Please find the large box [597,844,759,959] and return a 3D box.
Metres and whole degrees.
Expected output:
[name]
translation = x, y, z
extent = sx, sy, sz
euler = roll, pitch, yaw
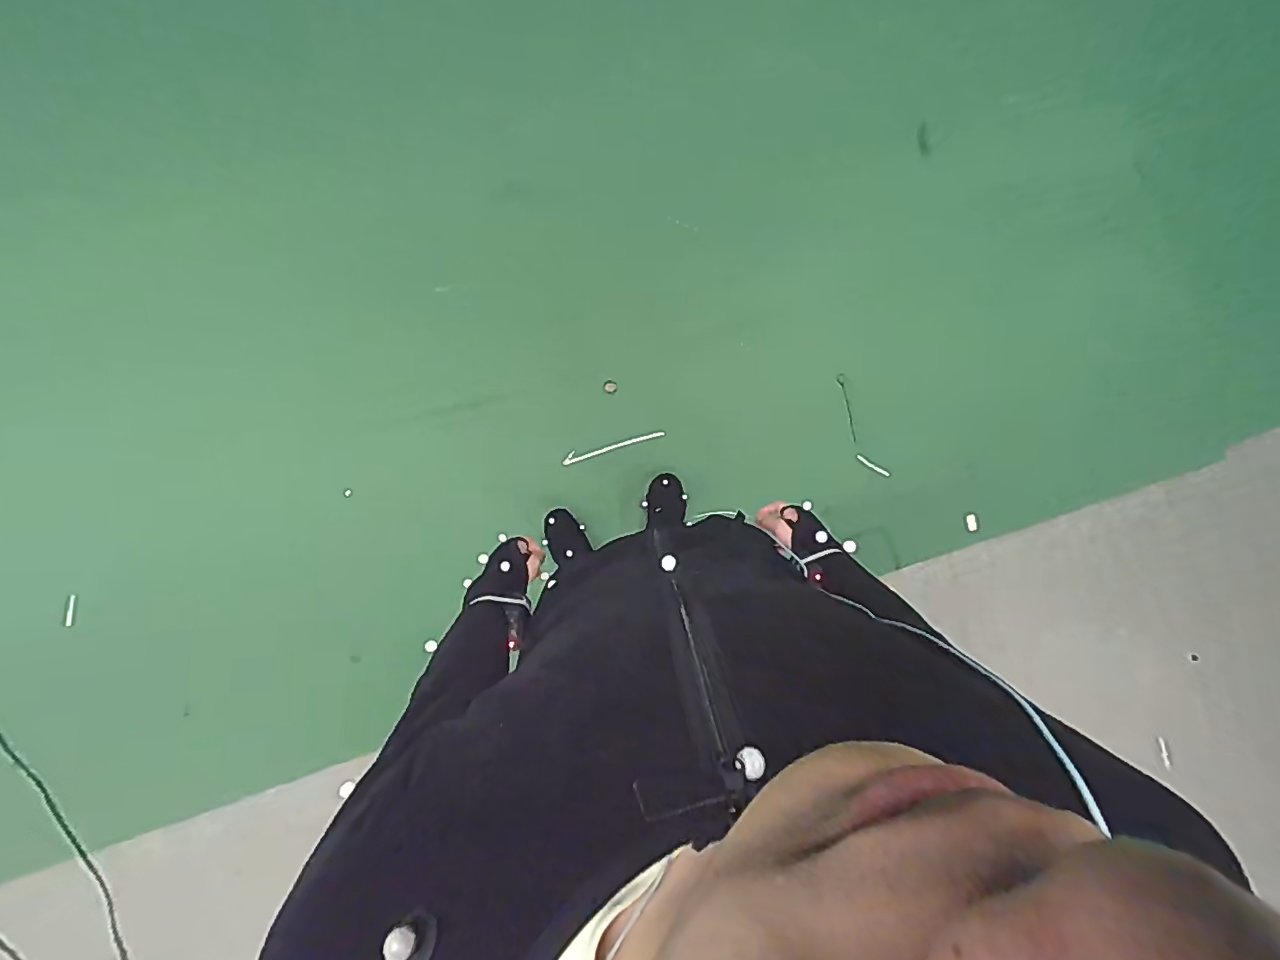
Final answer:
[large box]
translation = 0.114, 1.337, 1.528
extent = 0.408, 0.320, 0.320
euler = -19, 93, -4
